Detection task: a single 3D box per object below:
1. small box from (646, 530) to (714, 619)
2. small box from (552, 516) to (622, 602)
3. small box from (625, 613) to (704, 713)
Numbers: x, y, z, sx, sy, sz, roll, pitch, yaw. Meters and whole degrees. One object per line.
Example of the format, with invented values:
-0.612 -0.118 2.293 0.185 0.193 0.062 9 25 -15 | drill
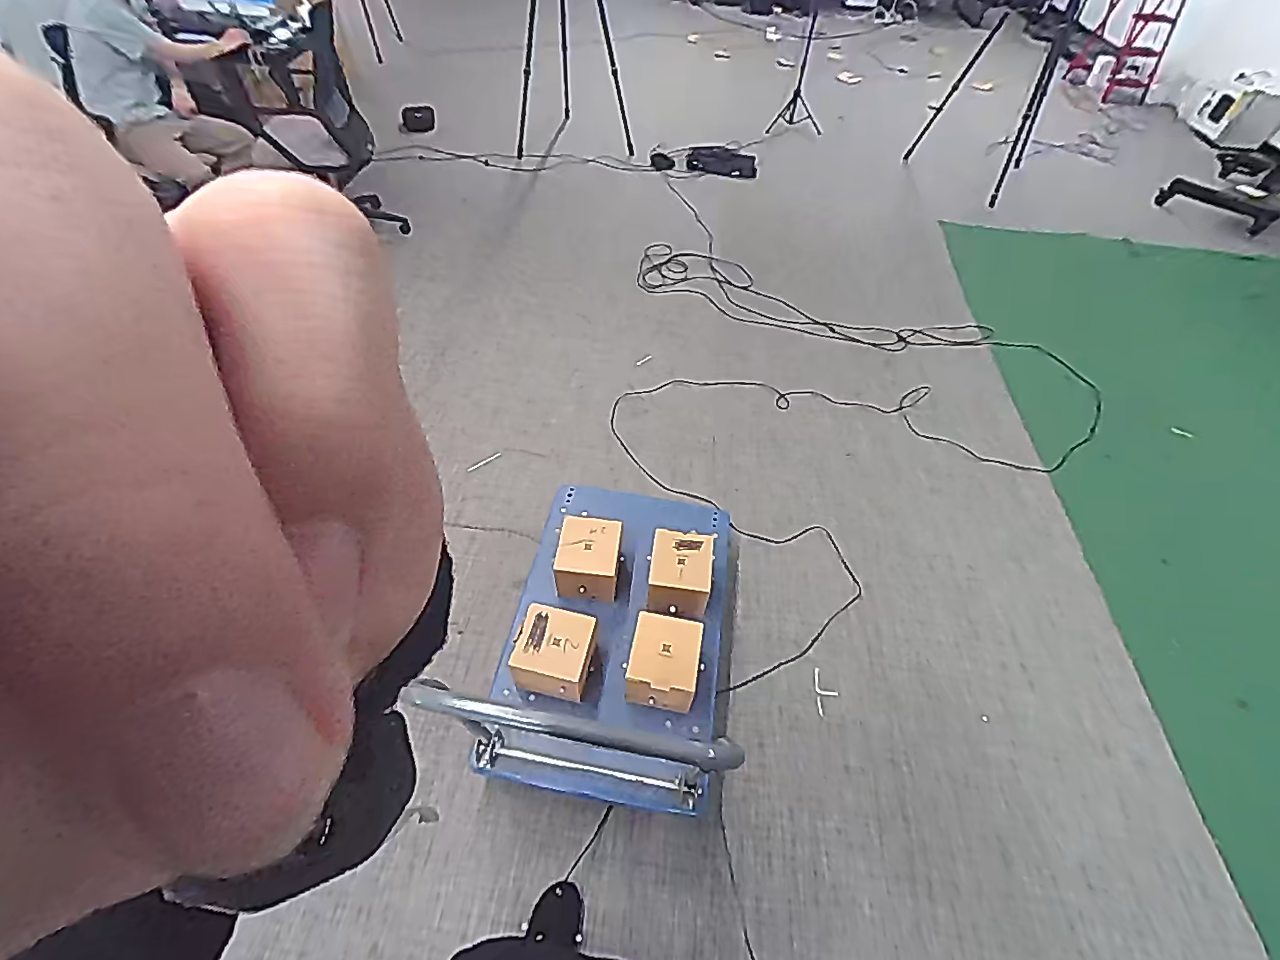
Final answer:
0.108 0.265 1.512 0.168 0.176 0.179 8 54 4 | small box
-0.144 0.228 1.526 0.168 0.176 0.179 7 52 1 | small box
0.057 0.462 1.360 0.168 0.176 0.179 11 53 5 | small box
